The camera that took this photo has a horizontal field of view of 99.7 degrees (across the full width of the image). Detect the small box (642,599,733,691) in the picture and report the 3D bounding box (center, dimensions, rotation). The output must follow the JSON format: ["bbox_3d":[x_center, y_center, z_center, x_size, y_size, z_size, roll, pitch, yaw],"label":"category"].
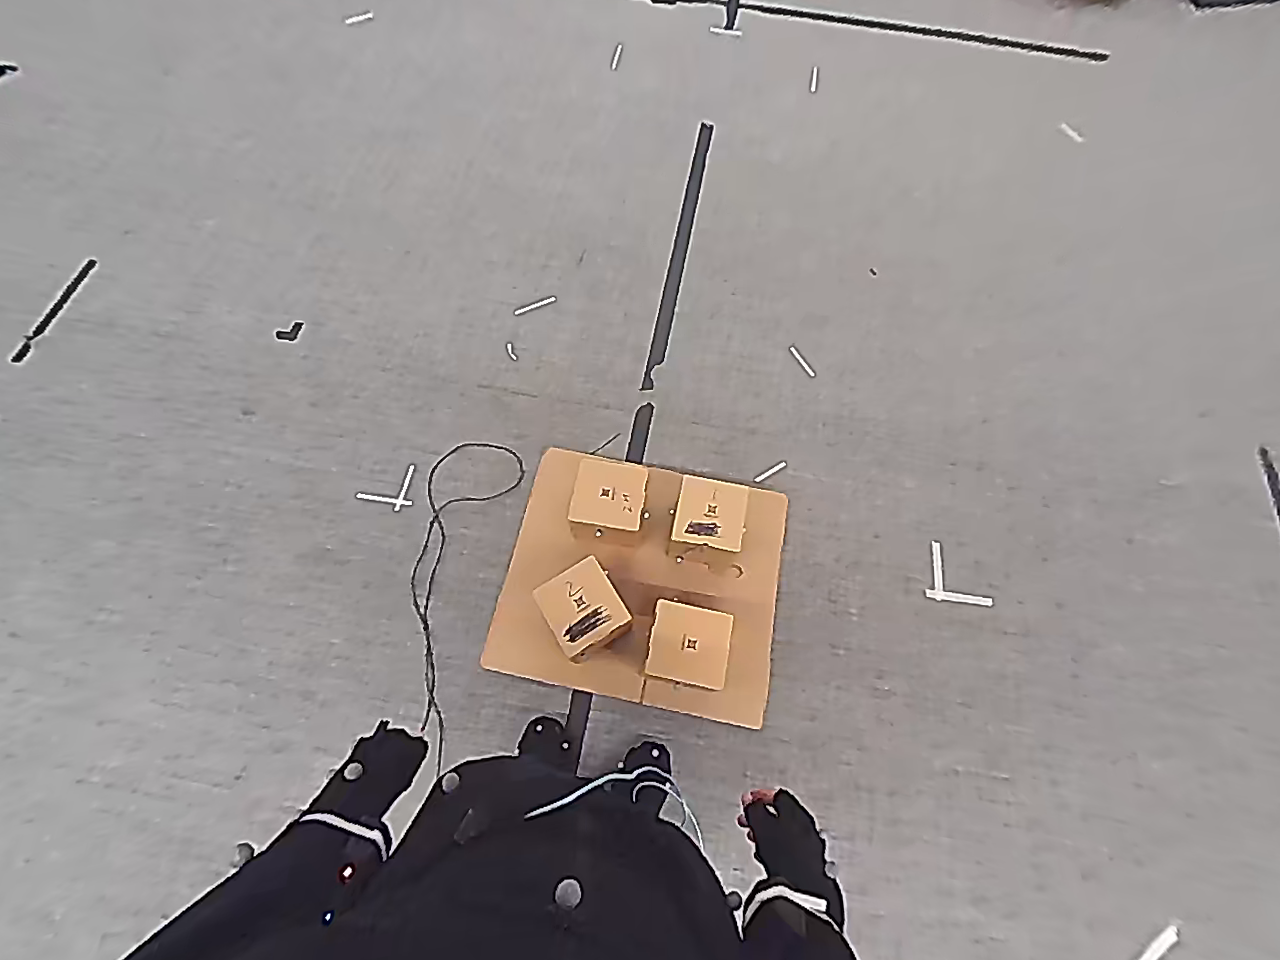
[{"bbox_3d":[0.107,0.391,1.269,0.179,0.176,0.168,12,68,5],"label":"small box"}]

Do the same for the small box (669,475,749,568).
[{"bbox_3d":[0.171,0.113,1.383,0.168,0.176,0.179,12,67,4],"label":"small box"}]

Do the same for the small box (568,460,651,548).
[{"bbox_3d":[-0.075,0.067,1.390,0.179,0.176,0.168,10,69,2],"label":"small box"}]
